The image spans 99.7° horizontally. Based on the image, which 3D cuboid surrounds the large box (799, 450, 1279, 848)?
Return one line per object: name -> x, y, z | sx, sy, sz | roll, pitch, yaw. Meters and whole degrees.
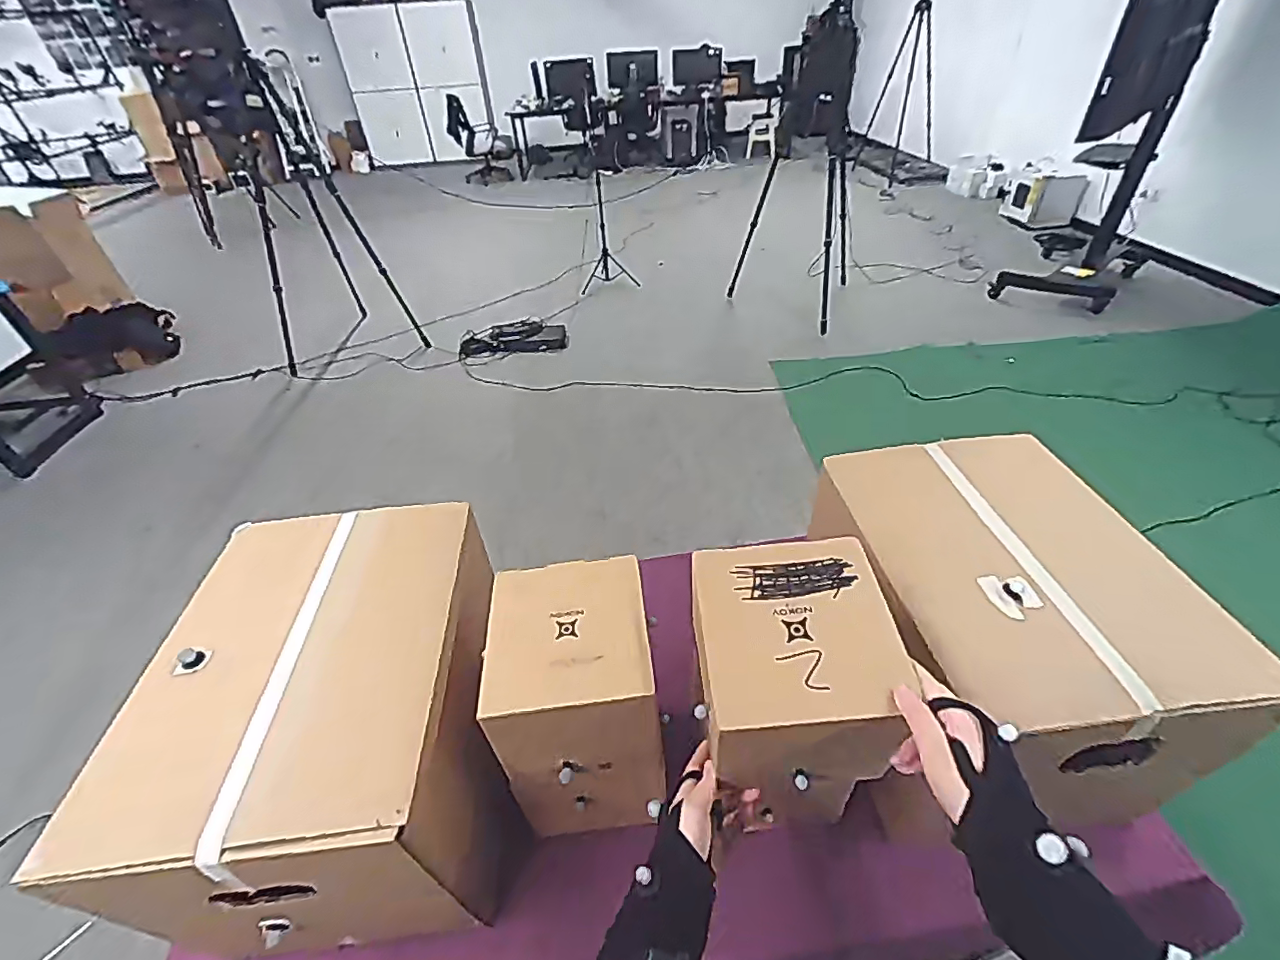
large box -> 0.445, 0.207, 0.731 | 0.320, 0.320, 0.408 | -6, 41, -2
